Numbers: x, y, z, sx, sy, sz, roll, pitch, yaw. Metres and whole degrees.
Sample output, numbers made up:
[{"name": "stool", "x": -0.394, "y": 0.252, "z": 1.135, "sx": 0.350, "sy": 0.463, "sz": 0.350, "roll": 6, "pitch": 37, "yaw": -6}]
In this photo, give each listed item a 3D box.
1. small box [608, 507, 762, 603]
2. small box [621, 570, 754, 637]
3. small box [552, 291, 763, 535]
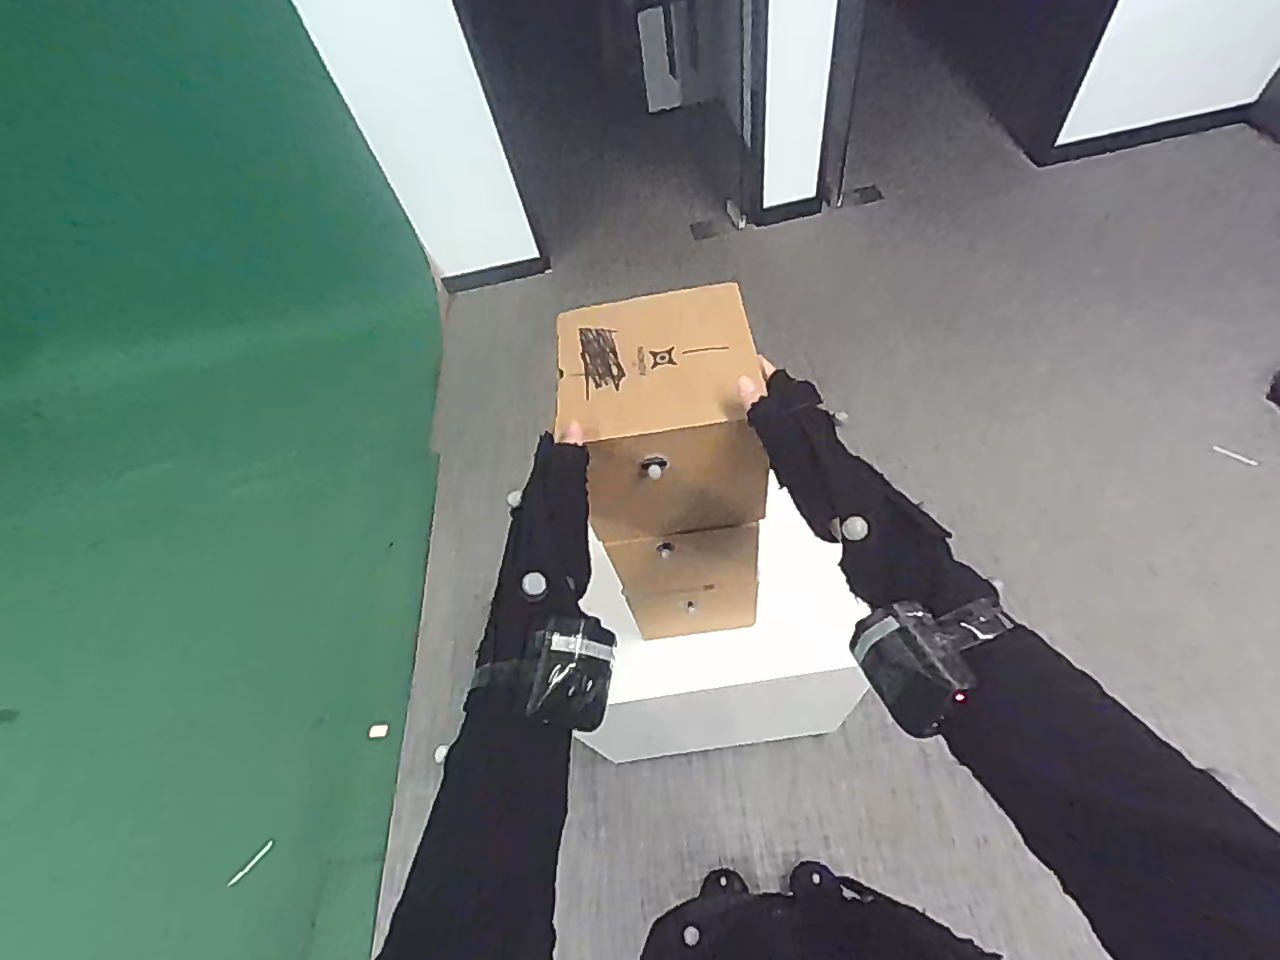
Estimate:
[{"name": "small box", "x": 0.049, "y": 0.034, "z": 0.681, "sx": 0.168, "sy": 0.176, "sz": 0.179, "roll": -9, "pitch": 56, "yaw": 3}, {"name": "small box", "x": 0.069, "y": 0.125, "z": 0.812, "sx": 0.179, "sy": 0.176, "sz": 0.168, "roll": -8, "pitch": 56, "yaw": 4}, {"name": "small box", "x": 0.022, "y": -0.057, "z": 0.543, "sx": 0.179, "sy": 0.176, "sz": 0.168, "roll": -8, "pitch": 56, "yaw": 5}]
